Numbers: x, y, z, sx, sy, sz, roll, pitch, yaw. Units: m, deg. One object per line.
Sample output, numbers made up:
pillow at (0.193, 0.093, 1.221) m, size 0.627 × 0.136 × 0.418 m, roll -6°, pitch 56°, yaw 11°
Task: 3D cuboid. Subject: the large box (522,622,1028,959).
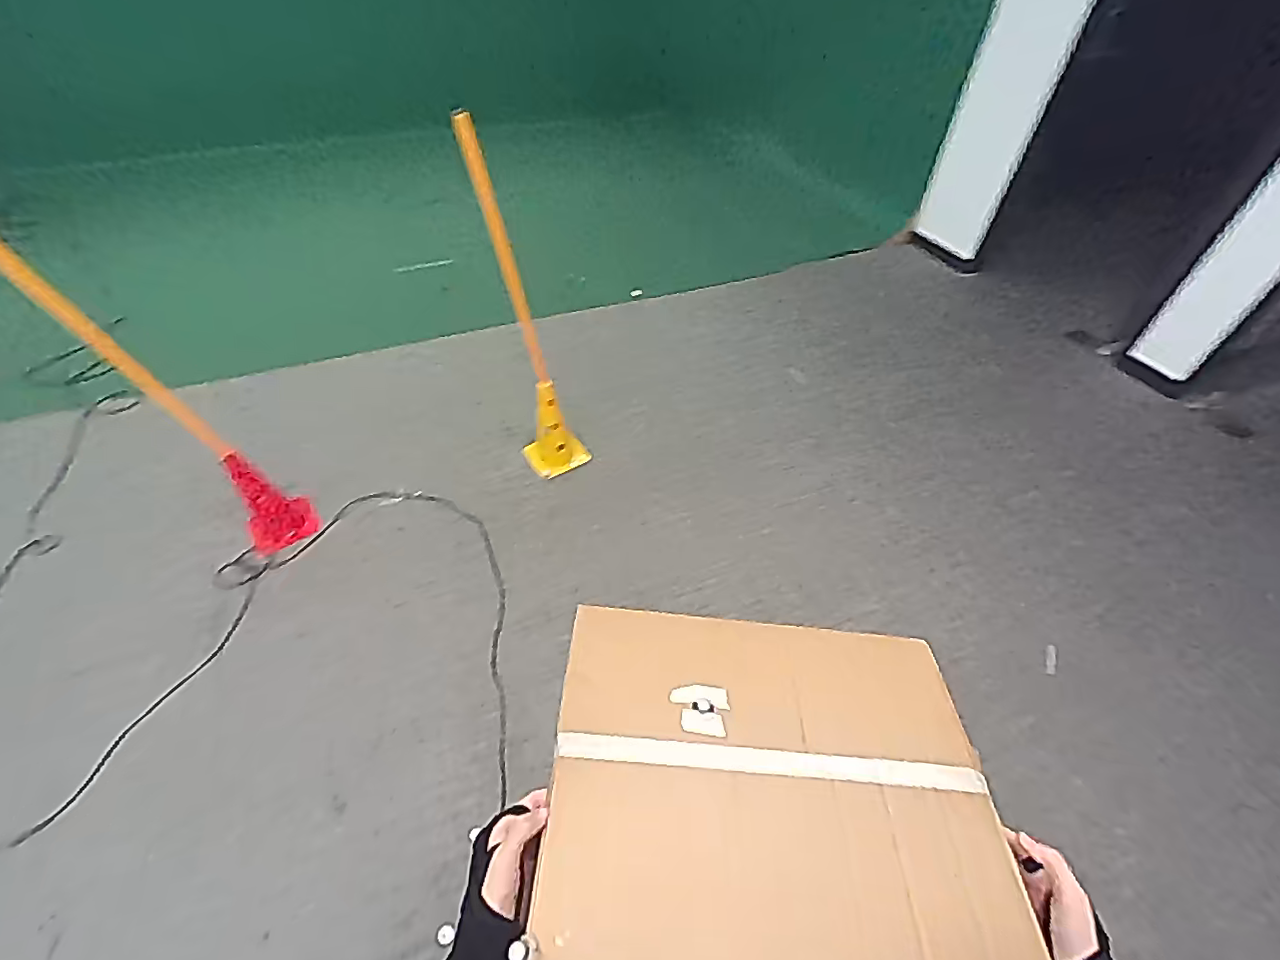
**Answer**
large box at (0.102, 0.386, 0.613) m, size 0.408 × 0.320 × 0.320 m, roll 4°, pitch 42°, yaw -2°
